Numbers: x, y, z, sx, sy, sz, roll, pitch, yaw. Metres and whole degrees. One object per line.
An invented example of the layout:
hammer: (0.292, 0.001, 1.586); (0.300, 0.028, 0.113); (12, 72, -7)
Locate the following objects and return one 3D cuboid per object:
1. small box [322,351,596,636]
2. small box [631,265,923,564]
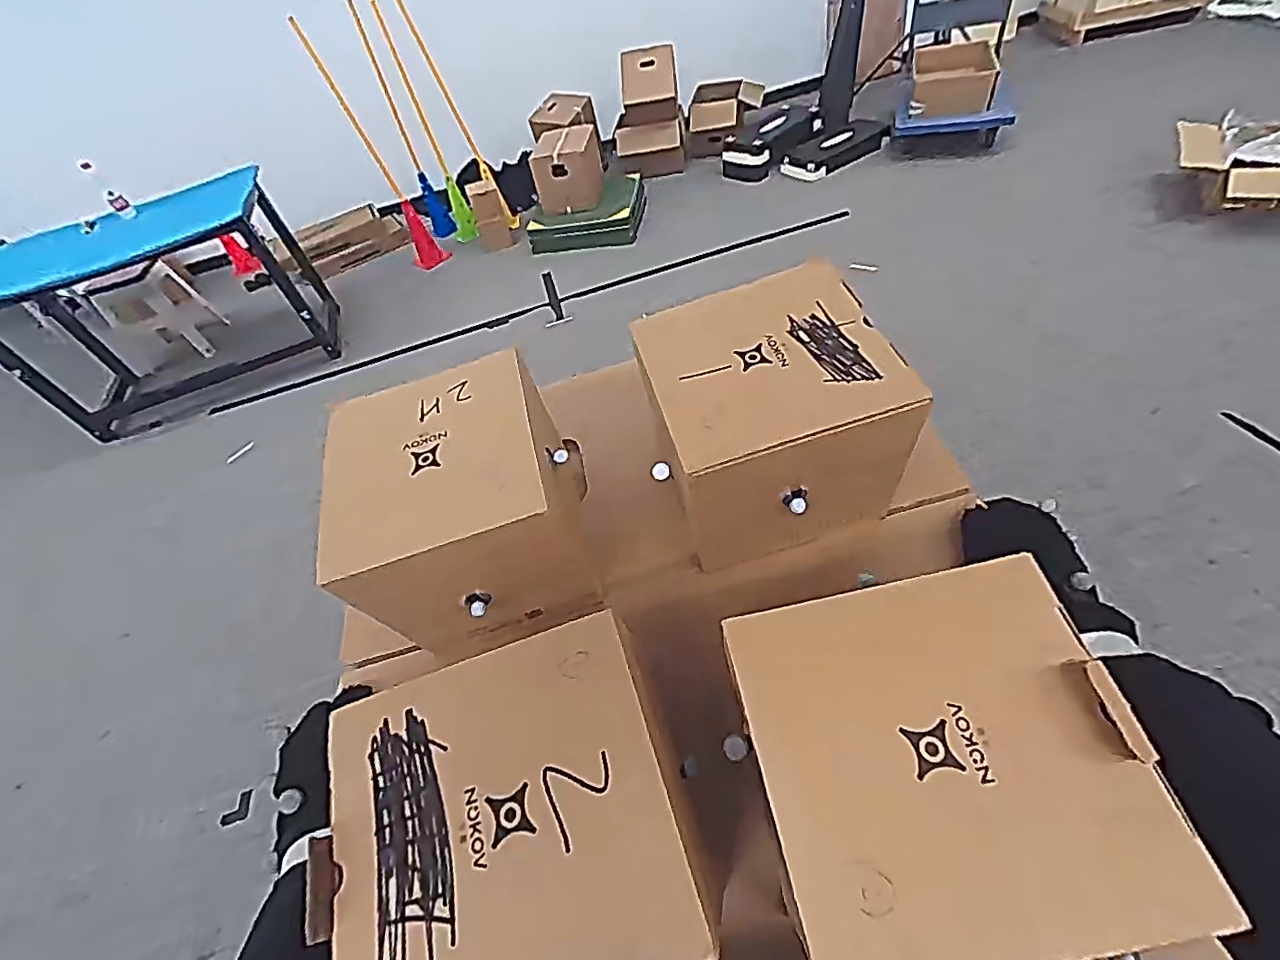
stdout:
small box: (-0.147, 0.024, 0.482); (0.168, 0.176, 0.179); (-17, 55, 0)
small box: (0.105, -0.048, 0.473); (0.179, 0.176, 0.168); (-17, 56, 2)
